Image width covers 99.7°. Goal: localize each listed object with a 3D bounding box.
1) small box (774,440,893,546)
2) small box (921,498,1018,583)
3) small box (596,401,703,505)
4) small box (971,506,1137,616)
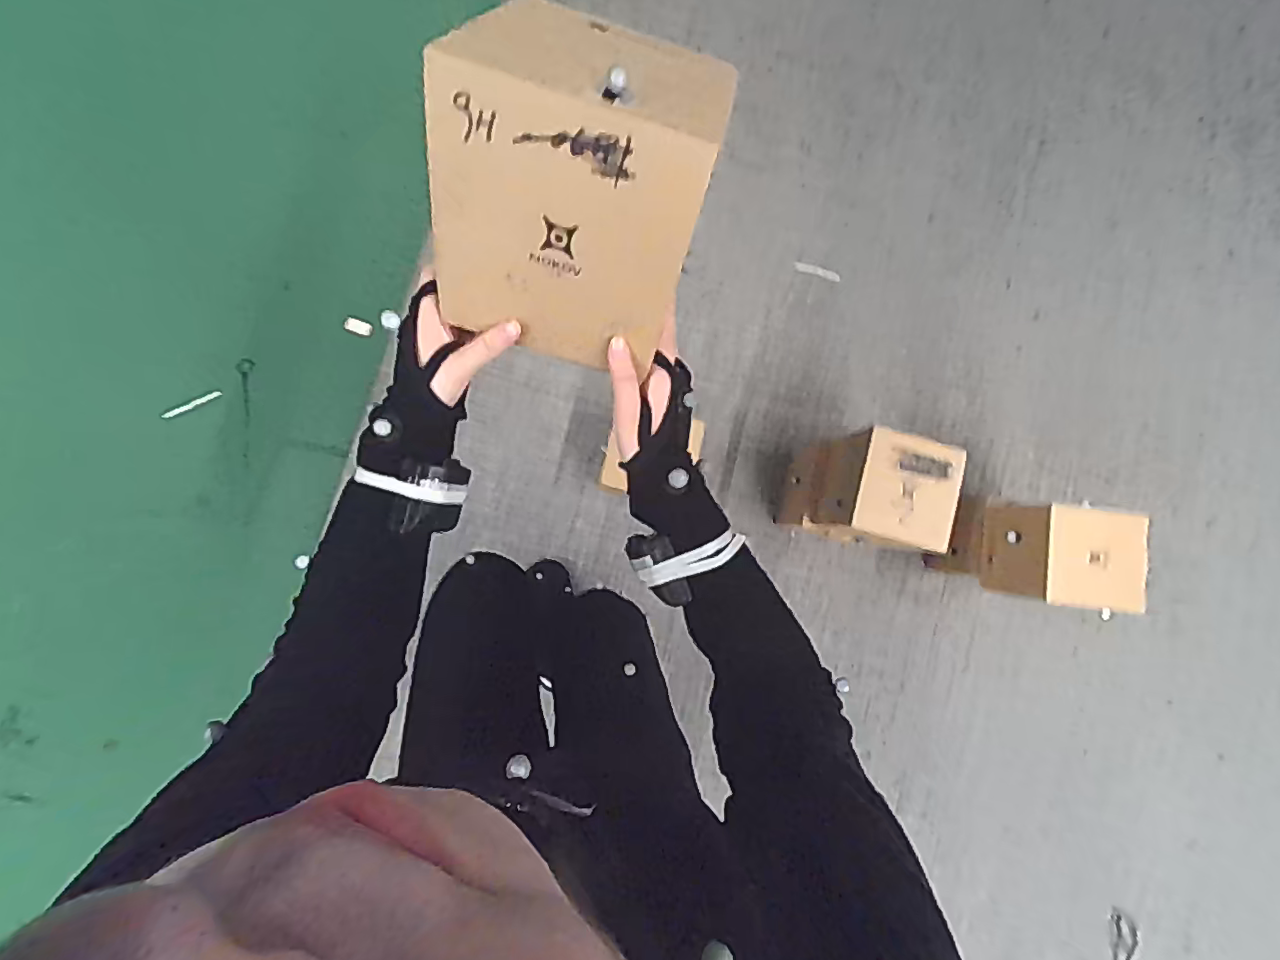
[{"bbox_3d":[0.395,0.032,1.135,0.168,0.176,0.179,15,84,-2],"label":"small box"},{"bbox_3d":[0.732,0.139,1.147,0.179,0.176,0.168,13,86,-3],"label":"small box"},{"bbox_3d":[0.014,-0.048,1.119,0.179,0.176,0.168,15,84,-3],"label":"small box"},{"bbox_3d":[0.741,0.142,0.985,0.179,0.176,0.168,8,86,-3],"label":"small box"}]
